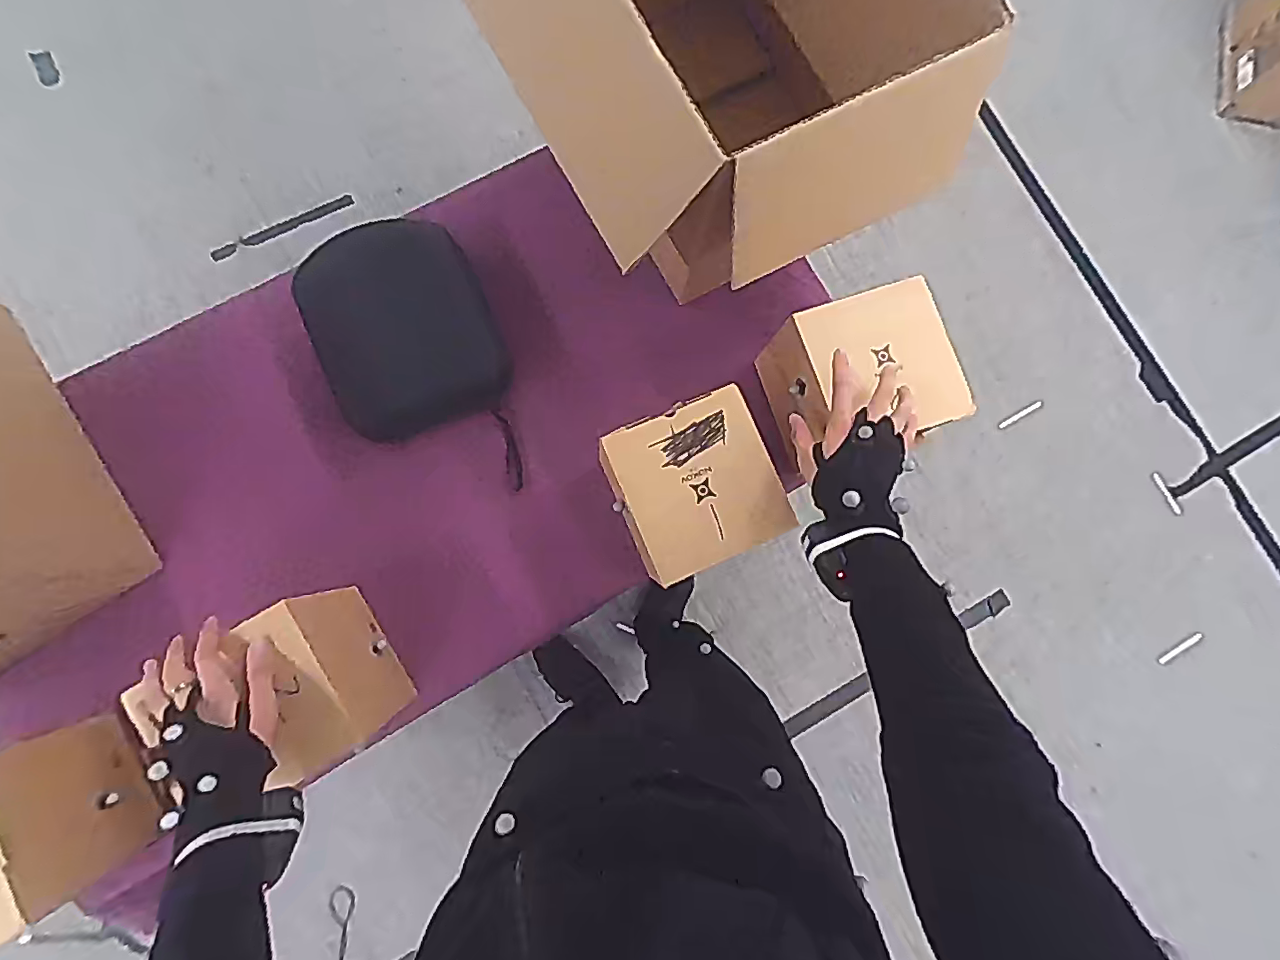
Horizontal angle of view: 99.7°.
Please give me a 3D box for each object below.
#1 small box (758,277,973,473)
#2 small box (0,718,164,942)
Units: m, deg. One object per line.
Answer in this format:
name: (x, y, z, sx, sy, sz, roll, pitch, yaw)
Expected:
small box: (0.268, -0.121, 0.688, 0.168, 0.176, 0.179, -18, 85, -4)
small box: (-0.682, 0.390, 0.576, 0.179, 0.176, 0.168, -29, 86, -7)
